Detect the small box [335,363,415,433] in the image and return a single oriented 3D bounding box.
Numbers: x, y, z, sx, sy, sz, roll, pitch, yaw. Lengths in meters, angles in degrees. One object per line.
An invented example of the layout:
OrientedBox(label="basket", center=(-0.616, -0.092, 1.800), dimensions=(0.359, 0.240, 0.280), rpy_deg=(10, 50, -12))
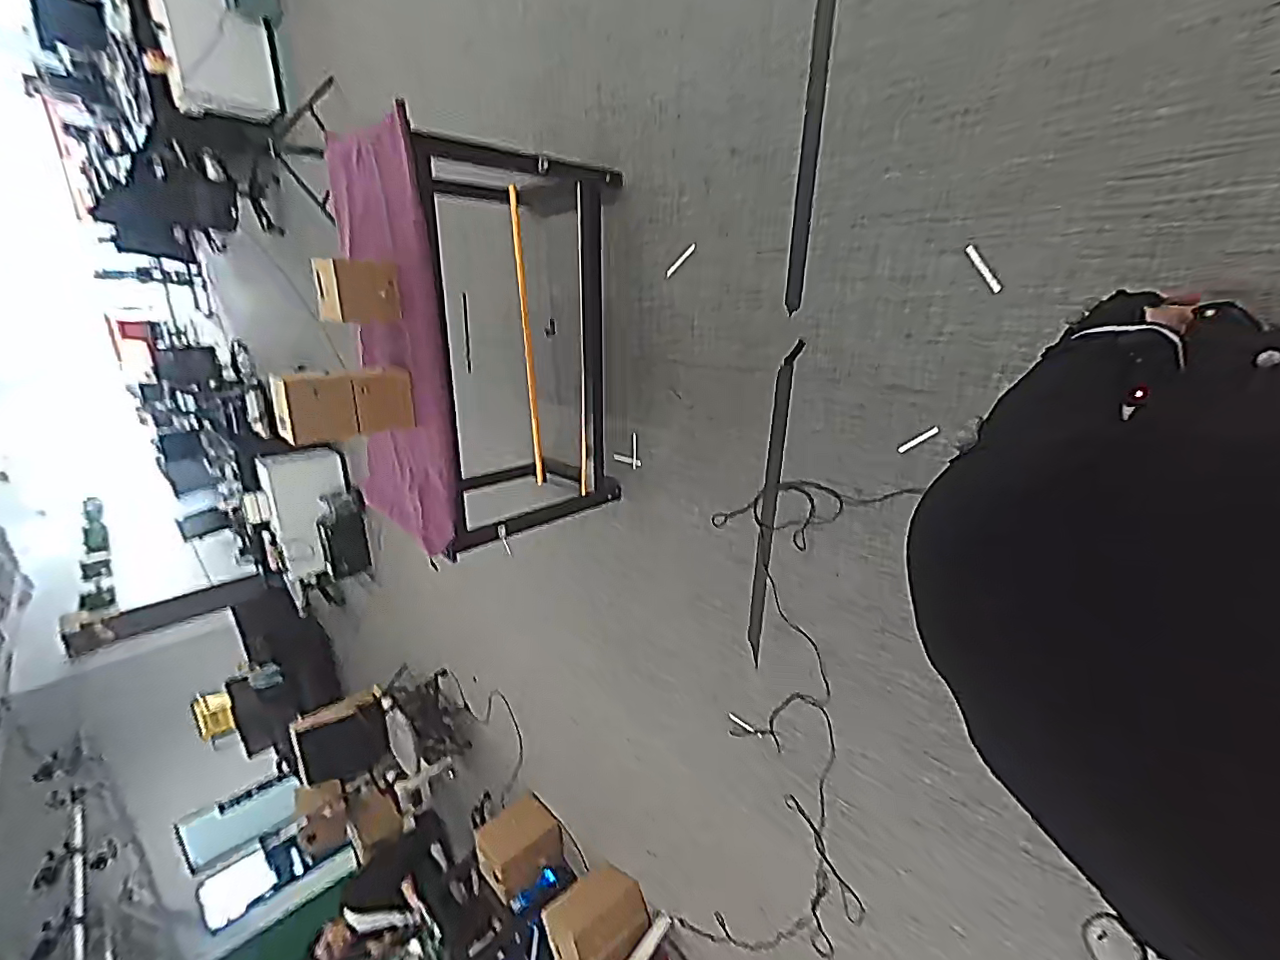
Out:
OrientedBox(label="small box", center=(-0.800, -0.255, 1.641), dimensions=(0.168, 0.176, 0.179), rpy_deg=(20, 116, 42))

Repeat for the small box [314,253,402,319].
OrientedBox(label="small box", center=(-0.799, -0.552, 1.539), dimensions=(0.179, 0.176, 0.168), rpy_deg=(21, 118, 41))
